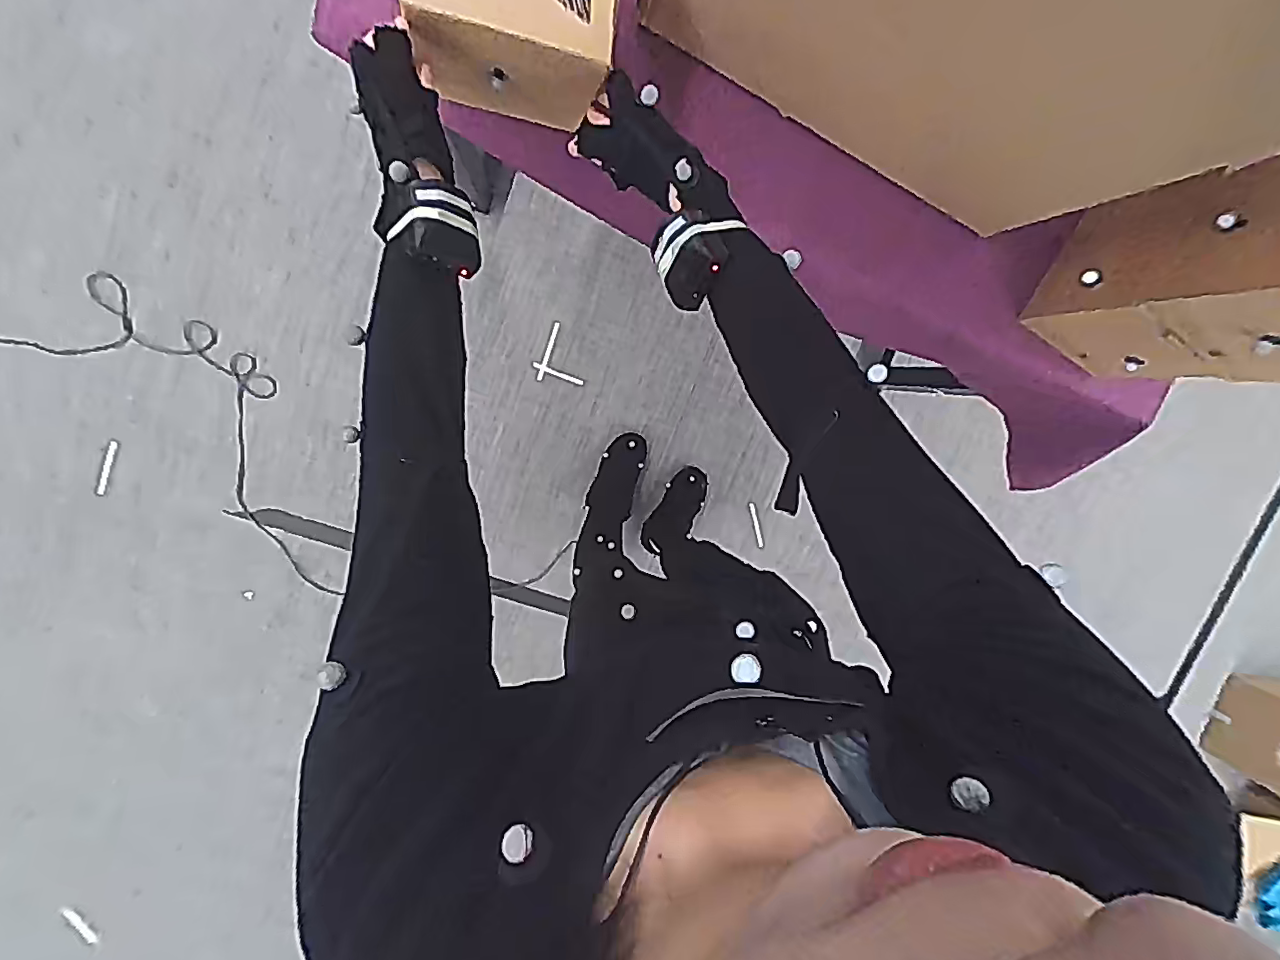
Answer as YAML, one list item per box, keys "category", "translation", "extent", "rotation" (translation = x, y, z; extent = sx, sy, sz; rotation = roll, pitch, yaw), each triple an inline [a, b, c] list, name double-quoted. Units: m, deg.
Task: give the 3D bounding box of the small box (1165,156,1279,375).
- category: "small box"
  translation: [0.689, -0.215, 0.535]
  extent: [0.168, 0.176, 0.179]
  rotation: [32, 95, -14]

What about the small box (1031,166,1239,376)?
- category: "small box"
  translation: [0.656, -0.247, 0.693]
  extent: [0.168, 0.176, 0.179]
  rotation: [28, 94, -13]
